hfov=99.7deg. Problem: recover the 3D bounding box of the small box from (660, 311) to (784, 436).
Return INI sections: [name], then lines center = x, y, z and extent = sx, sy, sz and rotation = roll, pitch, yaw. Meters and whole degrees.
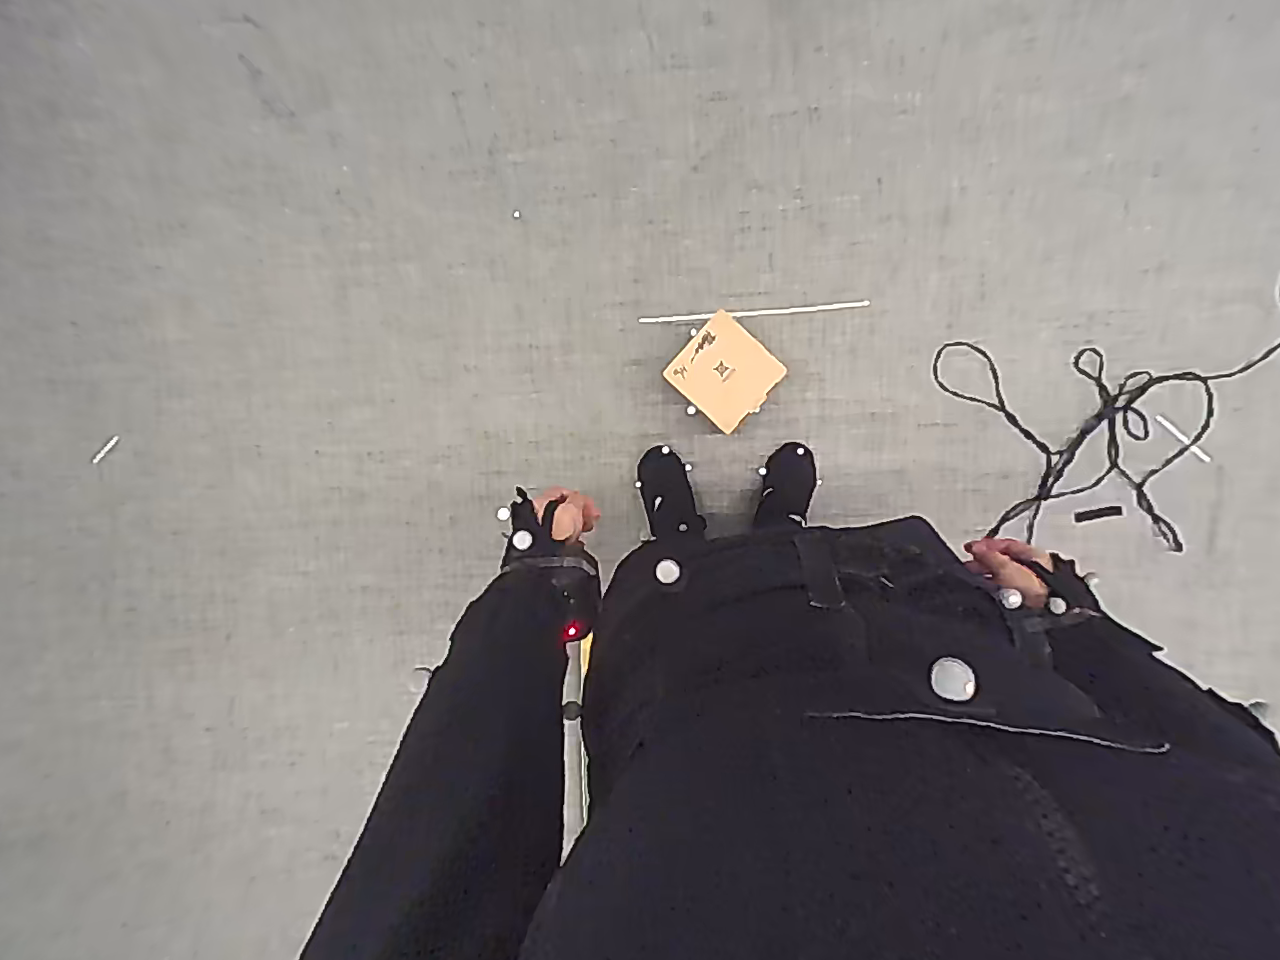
[small box]
center = 0.160, -0.210, 1.094
extent = 0.179, 0.176, 0.168
rotation = 43, 98, -1
